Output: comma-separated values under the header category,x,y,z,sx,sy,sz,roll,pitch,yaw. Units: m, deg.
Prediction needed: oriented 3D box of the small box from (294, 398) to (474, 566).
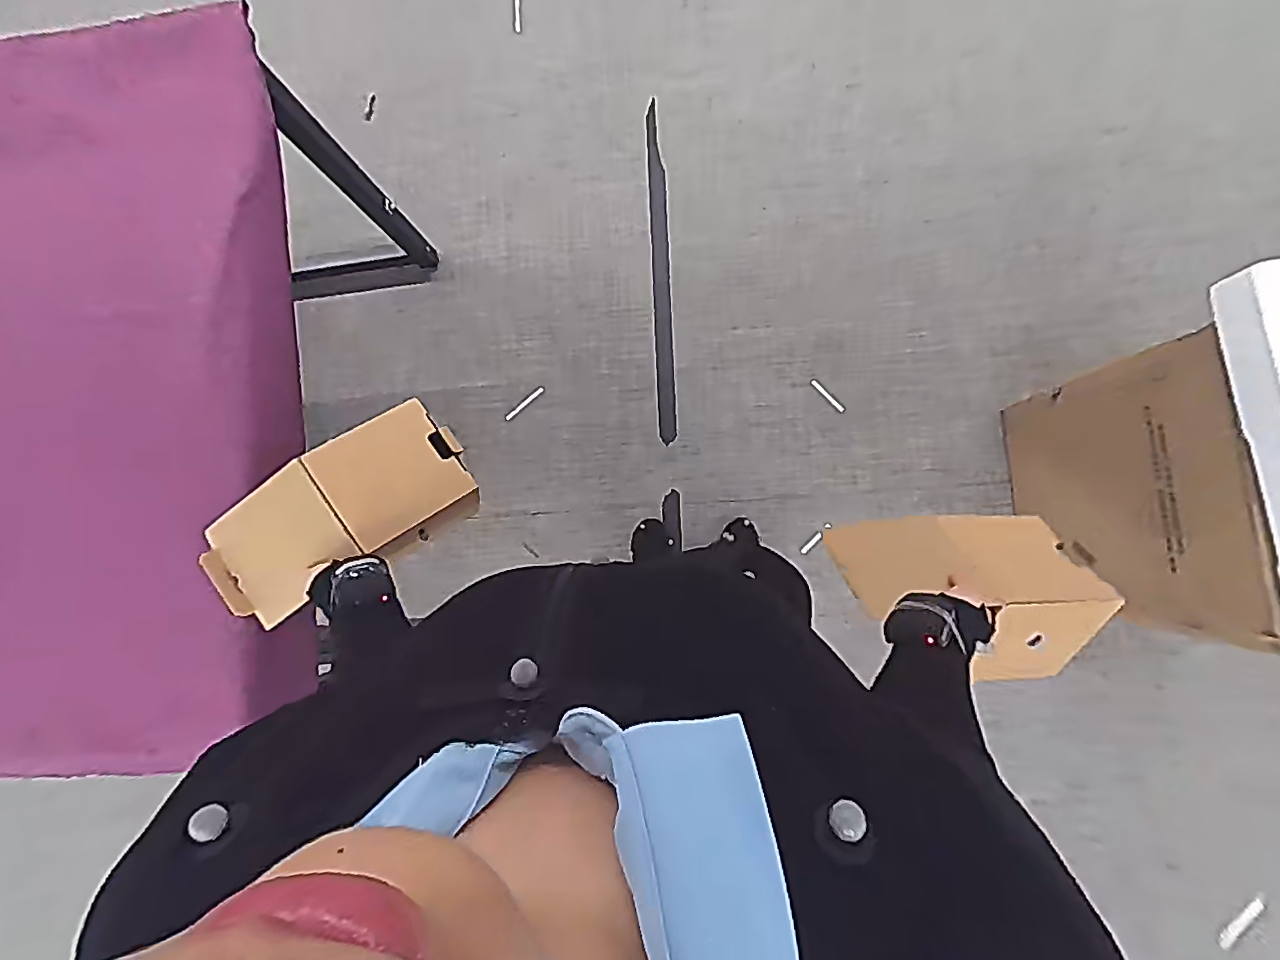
category,x,y,z,sx,sy,sz,roll,pitch,yaw
small box,-0.365,0.013,0.810,0.179,0.176,0.168,-34,86,-21
